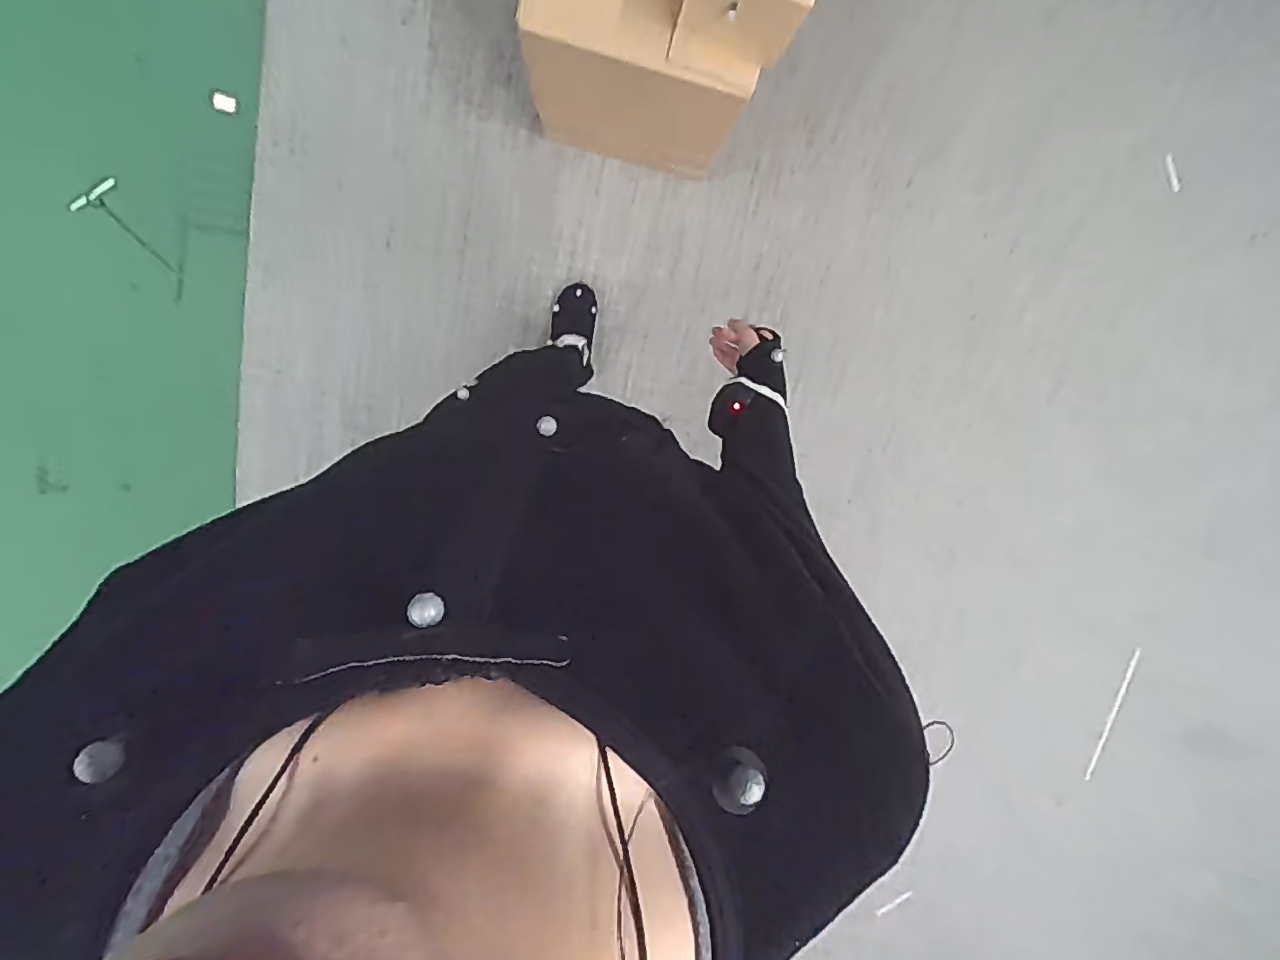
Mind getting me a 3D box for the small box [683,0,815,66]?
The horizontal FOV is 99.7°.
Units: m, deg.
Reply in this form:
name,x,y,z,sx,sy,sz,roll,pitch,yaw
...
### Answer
name,x,y,z,sx,sy,sz,roll,pitch,yaw
small box,0.172,-0.764,0.803,0.179,0.176,0.168,14,102,-7
